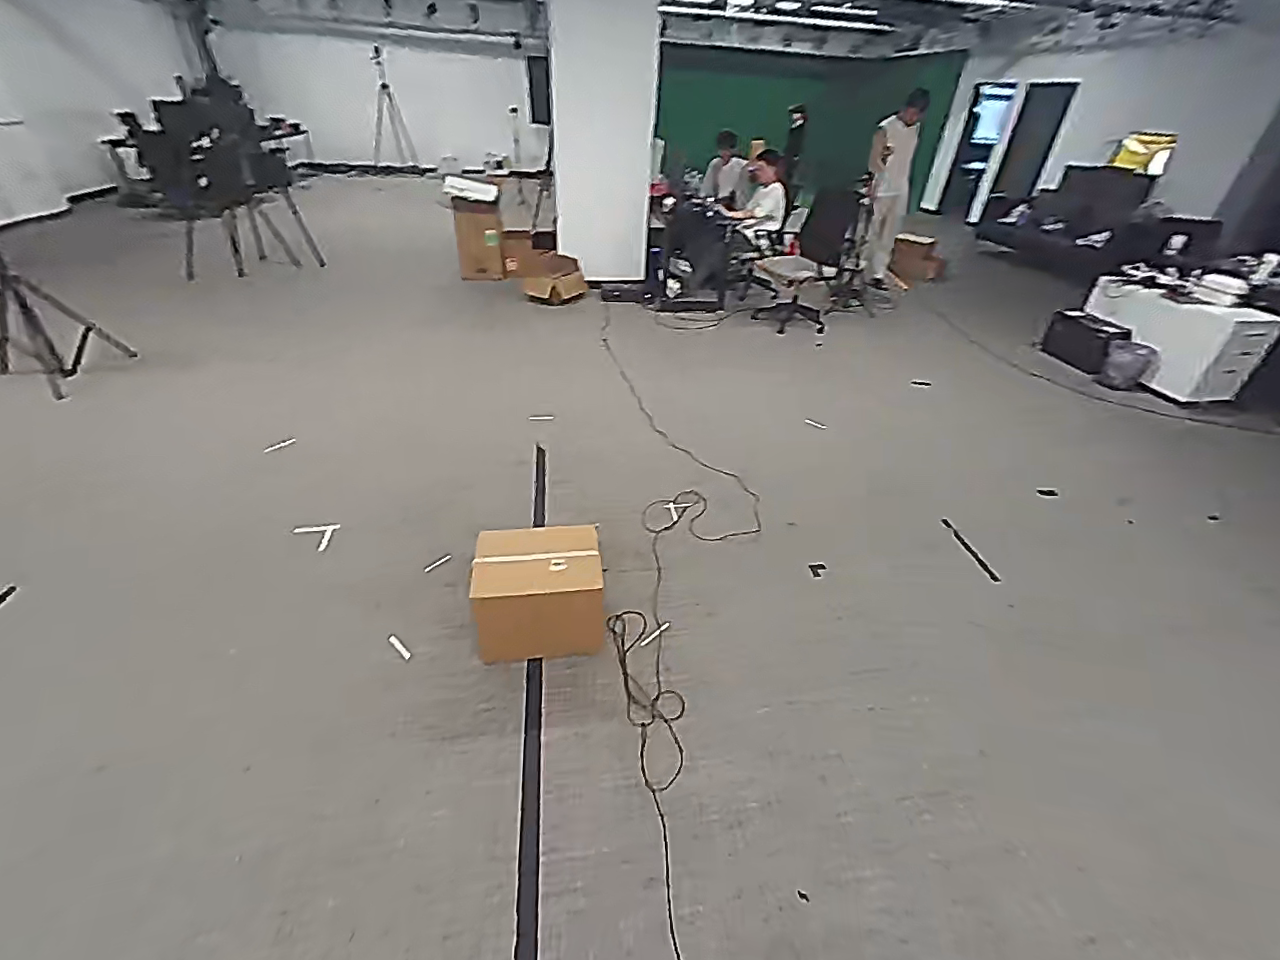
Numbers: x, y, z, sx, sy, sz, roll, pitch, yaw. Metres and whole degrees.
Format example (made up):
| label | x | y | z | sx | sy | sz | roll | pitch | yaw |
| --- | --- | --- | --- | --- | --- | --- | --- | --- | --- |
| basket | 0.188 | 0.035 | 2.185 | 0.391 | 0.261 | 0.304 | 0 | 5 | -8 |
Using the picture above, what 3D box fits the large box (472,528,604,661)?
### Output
| label | x | y | z | sx | sy | sz | roll | pitch | yaw |
| --- | --- | --- | --- | --- | --- | --- | --- | --- | --- |
| large box | -0.339 | 0.385 | 1.845 | 0.408 | 0.320 | 0.320 | -2 | 35 | -8 |
